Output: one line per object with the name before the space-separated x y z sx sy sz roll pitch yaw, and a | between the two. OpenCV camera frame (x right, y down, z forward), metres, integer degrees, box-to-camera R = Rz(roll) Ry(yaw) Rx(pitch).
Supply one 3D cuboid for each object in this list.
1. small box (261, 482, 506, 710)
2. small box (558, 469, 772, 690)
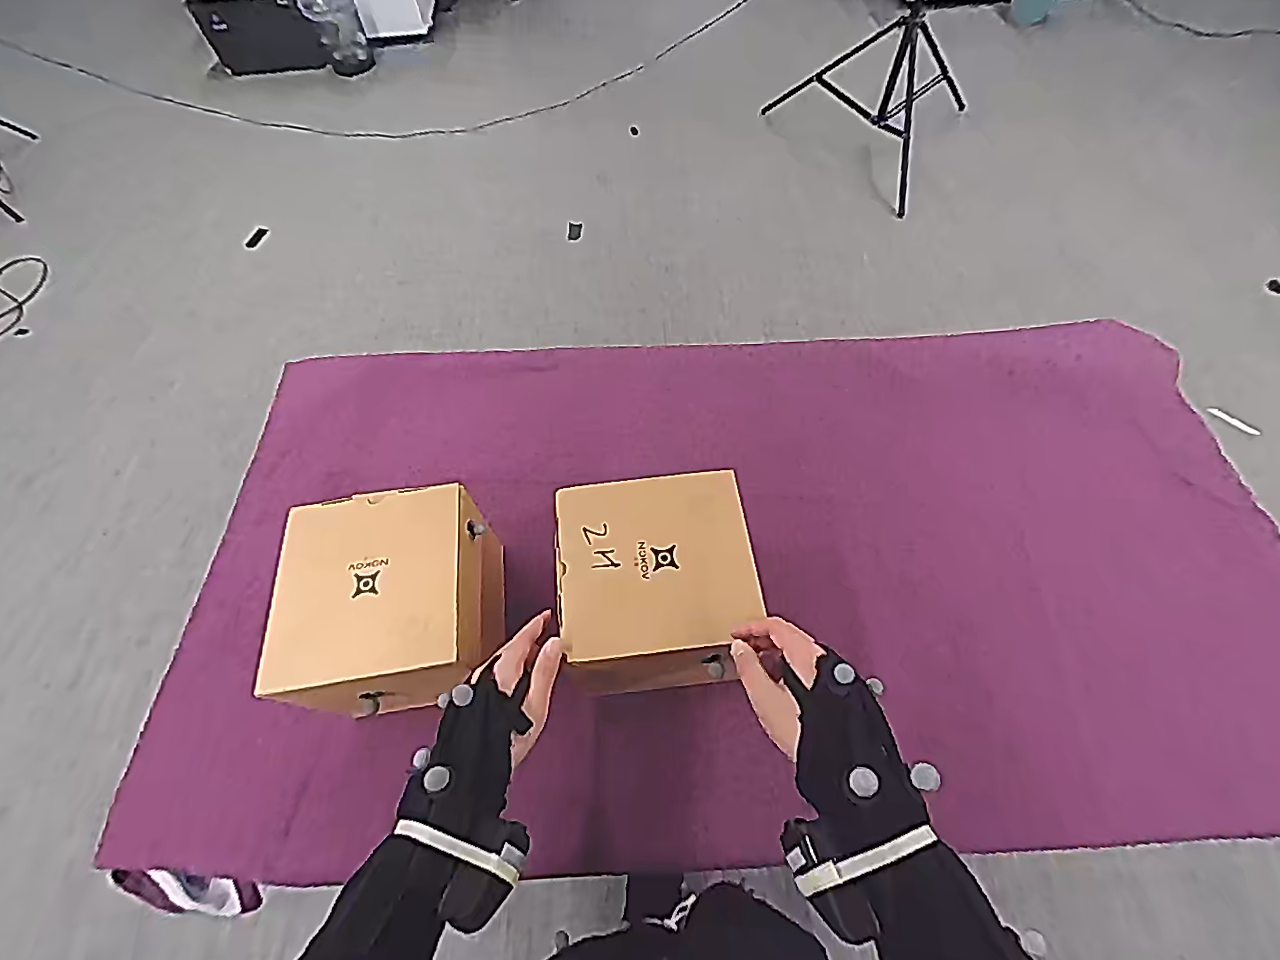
small box | -0.239 0.127 0.554 0.168 0.176 0.179 -9 59 -3
small box | 0.018 0.108 0.550 0.179 0.176 0.168 -7 59 -1
